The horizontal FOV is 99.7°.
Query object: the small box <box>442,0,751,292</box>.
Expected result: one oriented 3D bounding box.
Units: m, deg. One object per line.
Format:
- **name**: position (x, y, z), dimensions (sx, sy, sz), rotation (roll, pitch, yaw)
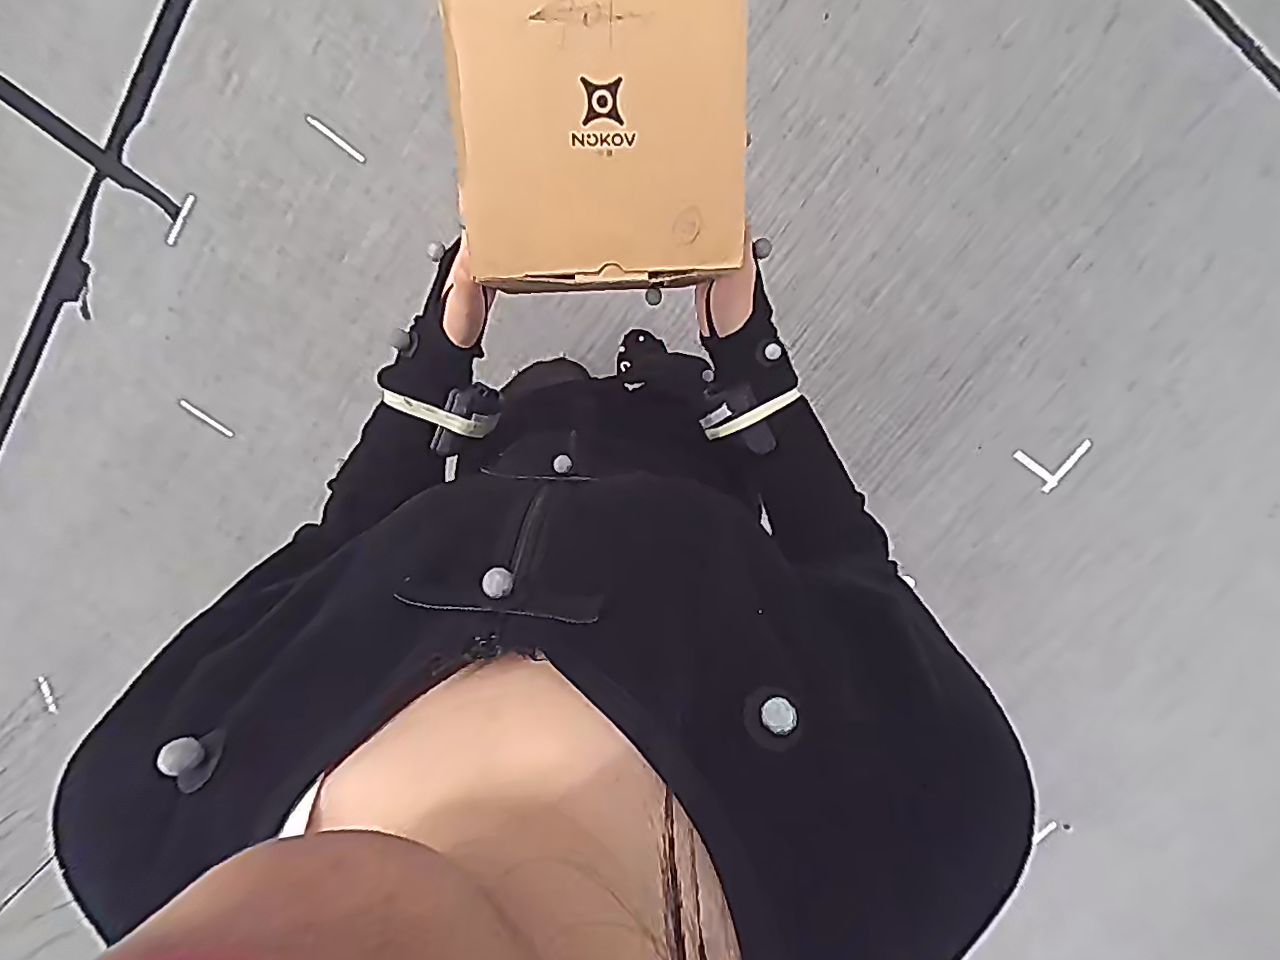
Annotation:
- **small box**: position (-0.028, -0.226, 0.376), dimensions (0.168, 0.176, 0.179), rotation (-5, 106, -6)
